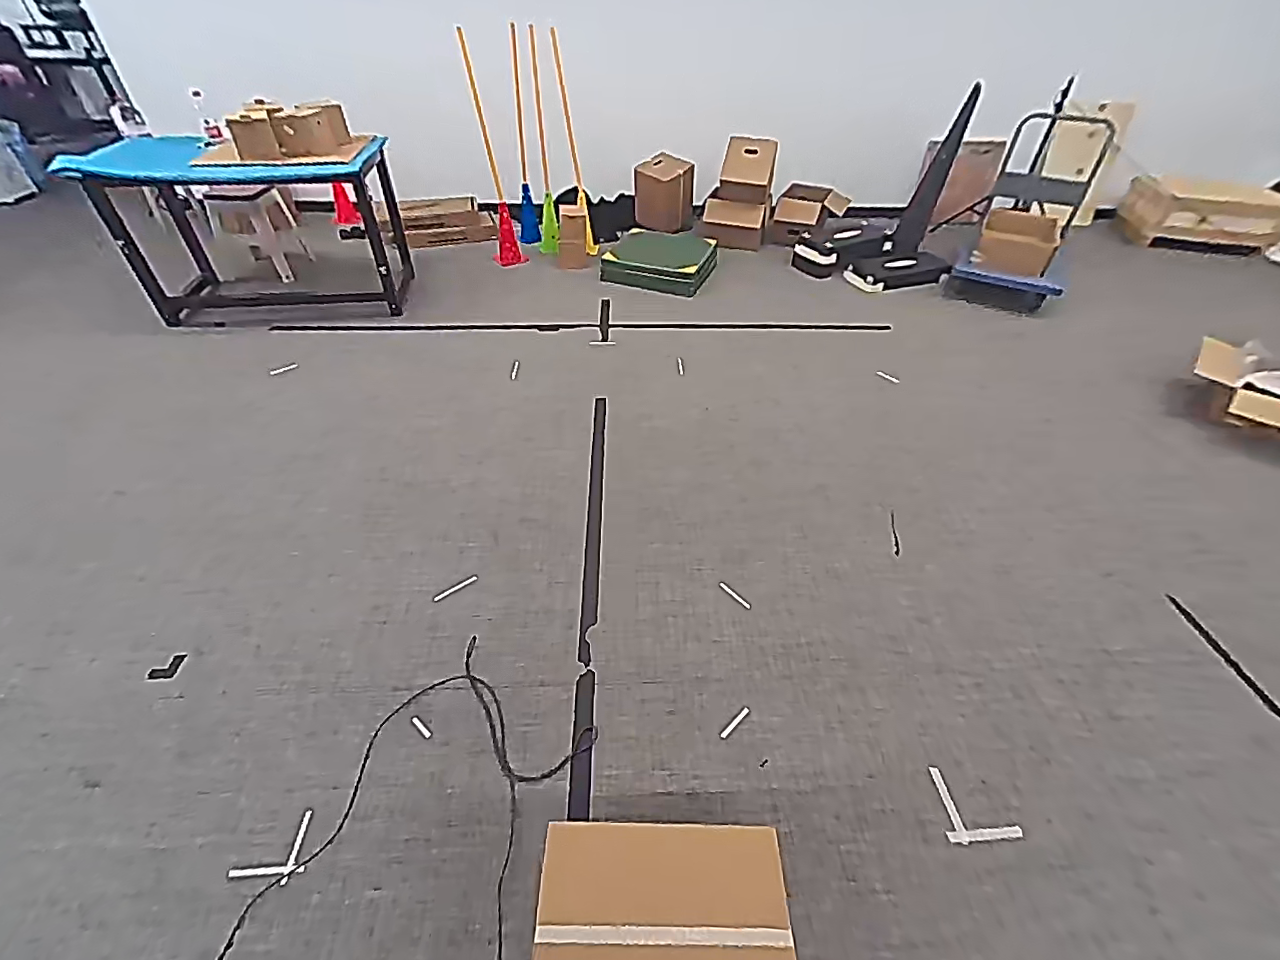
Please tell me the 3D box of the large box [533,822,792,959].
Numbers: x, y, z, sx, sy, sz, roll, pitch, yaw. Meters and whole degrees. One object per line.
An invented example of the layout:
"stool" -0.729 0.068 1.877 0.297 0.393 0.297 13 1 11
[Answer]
"large box" 0.029 0.825 0.945 0.408 0.320 0.320 2 43 -1
